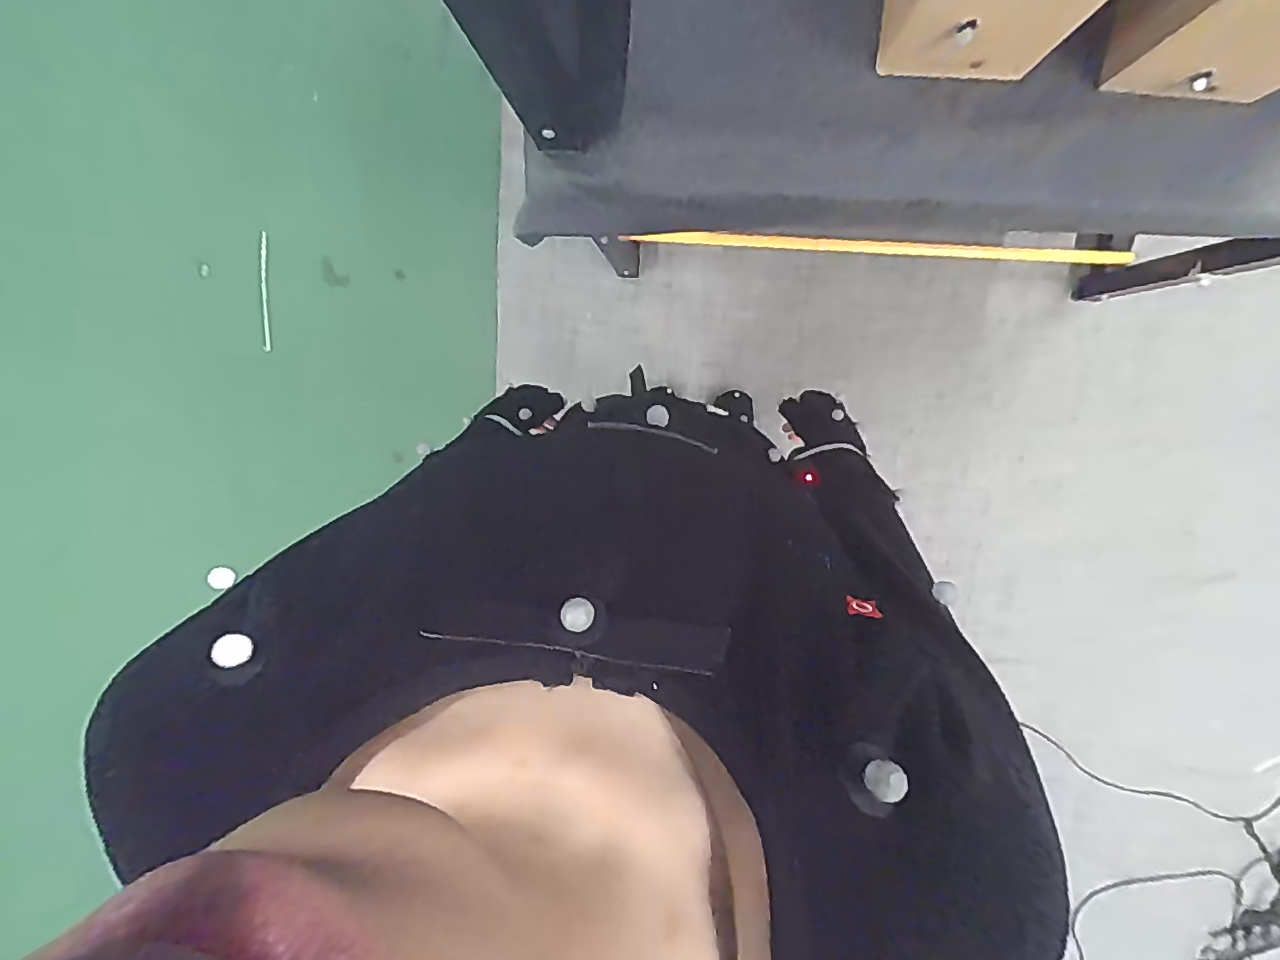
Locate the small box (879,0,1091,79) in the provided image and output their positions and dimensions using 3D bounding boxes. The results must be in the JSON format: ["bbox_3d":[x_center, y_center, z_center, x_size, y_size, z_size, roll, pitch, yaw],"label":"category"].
[{"bbox_3d":[0.355,-0.536,0.537,0.168,0.176,0.179,5,100,4],"label":"small box"}]
